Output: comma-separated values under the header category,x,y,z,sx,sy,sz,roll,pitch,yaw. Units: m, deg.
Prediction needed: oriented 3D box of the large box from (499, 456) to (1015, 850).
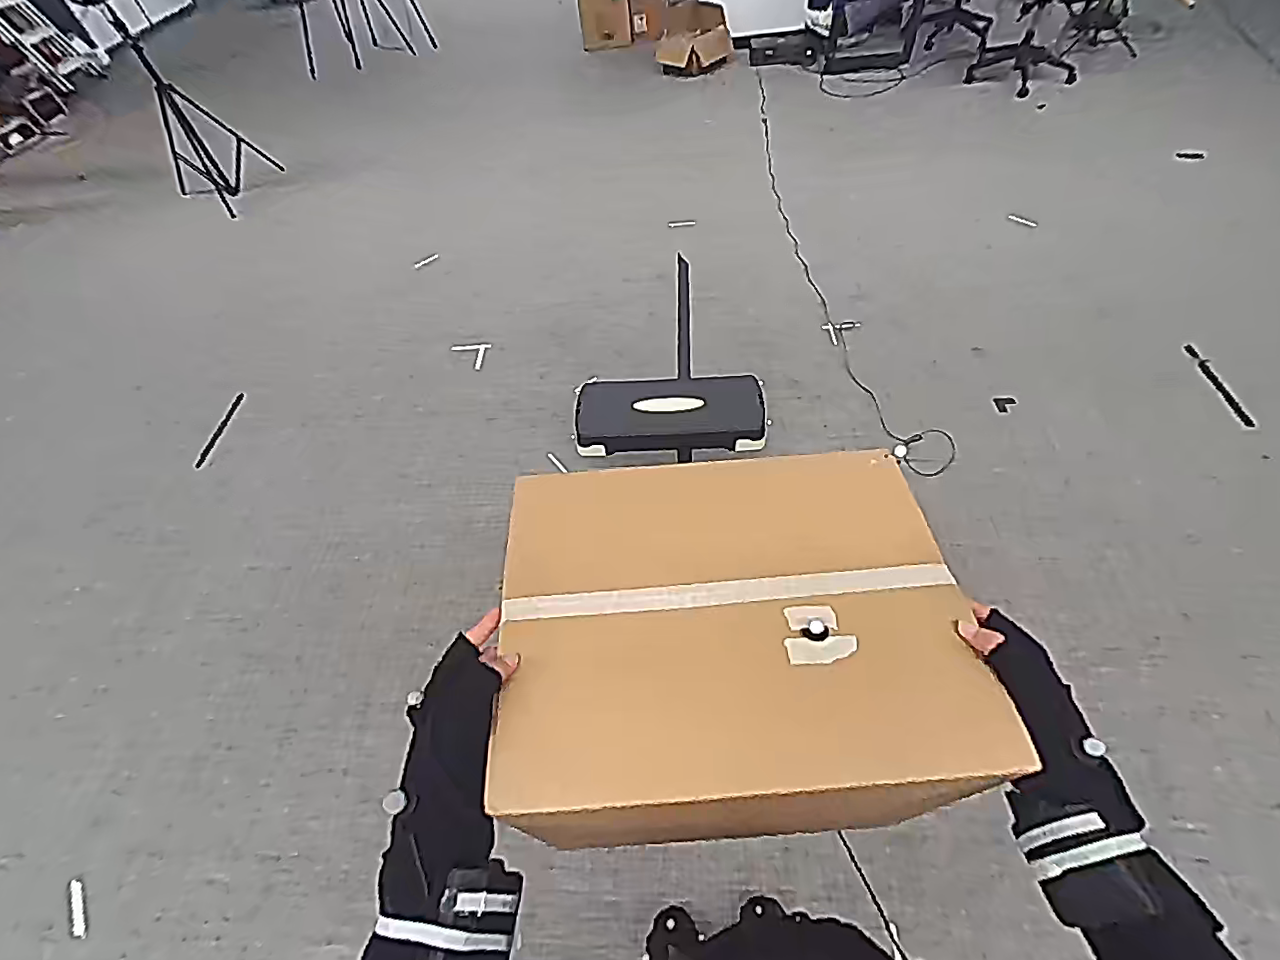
category,x,y,z,sx,sy,sz,roll,pitch,yaw
large box,0.083,0.202,0.613,0.408,0.320,0.320,-4,51,-1
